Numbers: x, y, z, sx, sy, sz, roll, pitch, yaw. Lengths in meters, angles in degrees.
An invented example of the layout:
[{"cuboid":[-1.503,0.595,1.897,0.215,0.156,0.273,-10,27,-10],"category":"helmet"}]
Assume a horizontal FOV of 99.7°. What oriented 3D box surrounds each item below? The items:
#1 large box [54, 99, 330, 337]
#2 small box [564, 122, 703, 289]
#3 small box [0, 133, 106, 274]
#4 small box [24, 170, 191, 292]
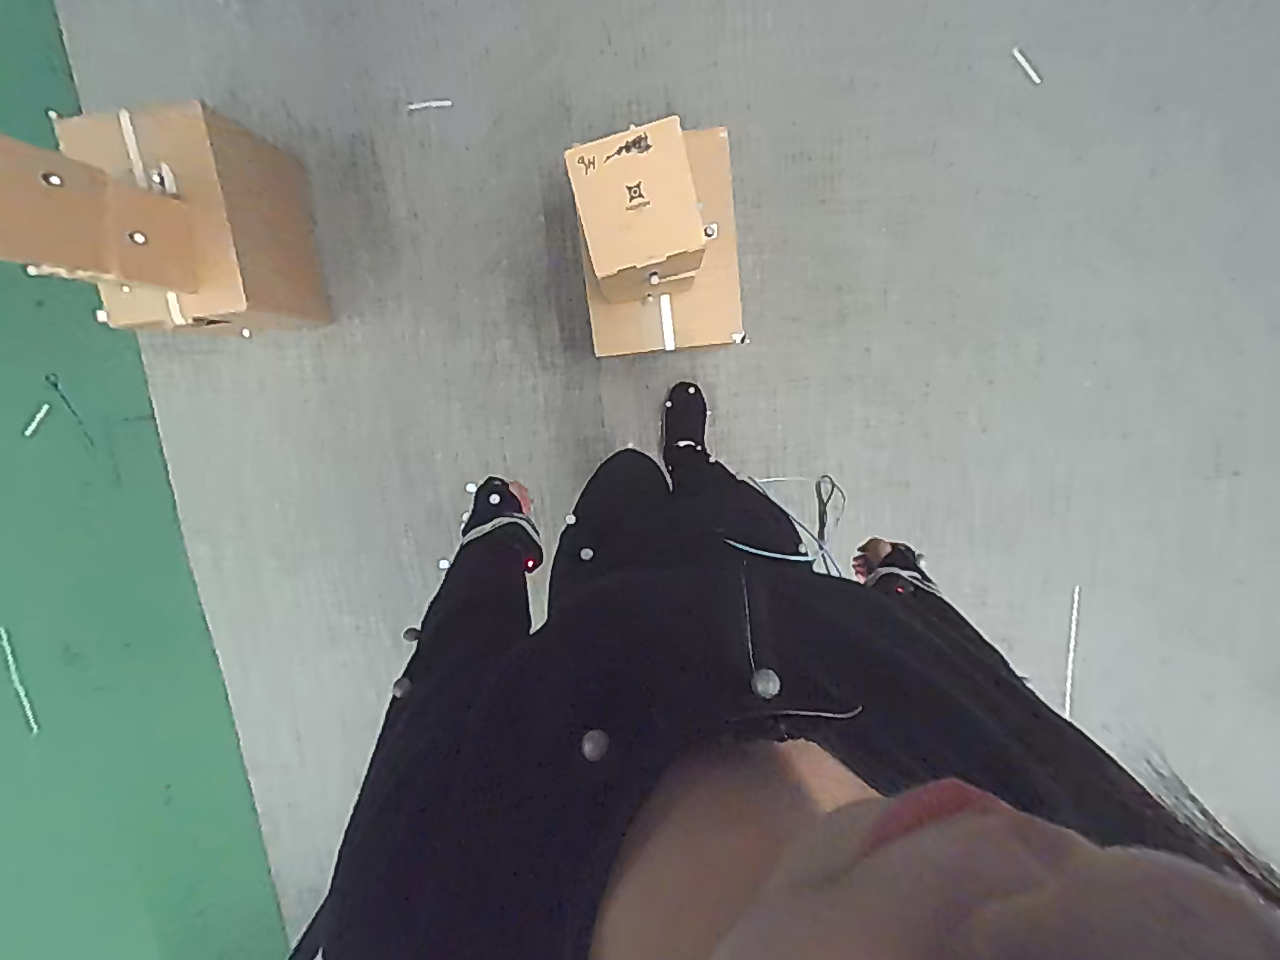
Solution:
[{"cuboid":[-0.985,-0.562,1.244,0.320,0.320,0.408,-5,100,3],"category":"large box"},{"cuboid":[-0.003,-0.403,0.830,0.168,0.176,0.179,-13,102,6],"category":"small box"},{"cuboid":[-1.006,-0.441,0.855,0.168,0.176,0.179,9,103,1],"category":"small box"},{"cuboid":[-0.994,-0.464,1.016,0.168,0.176,0.179,6,102,1],"category":"small box"}]
